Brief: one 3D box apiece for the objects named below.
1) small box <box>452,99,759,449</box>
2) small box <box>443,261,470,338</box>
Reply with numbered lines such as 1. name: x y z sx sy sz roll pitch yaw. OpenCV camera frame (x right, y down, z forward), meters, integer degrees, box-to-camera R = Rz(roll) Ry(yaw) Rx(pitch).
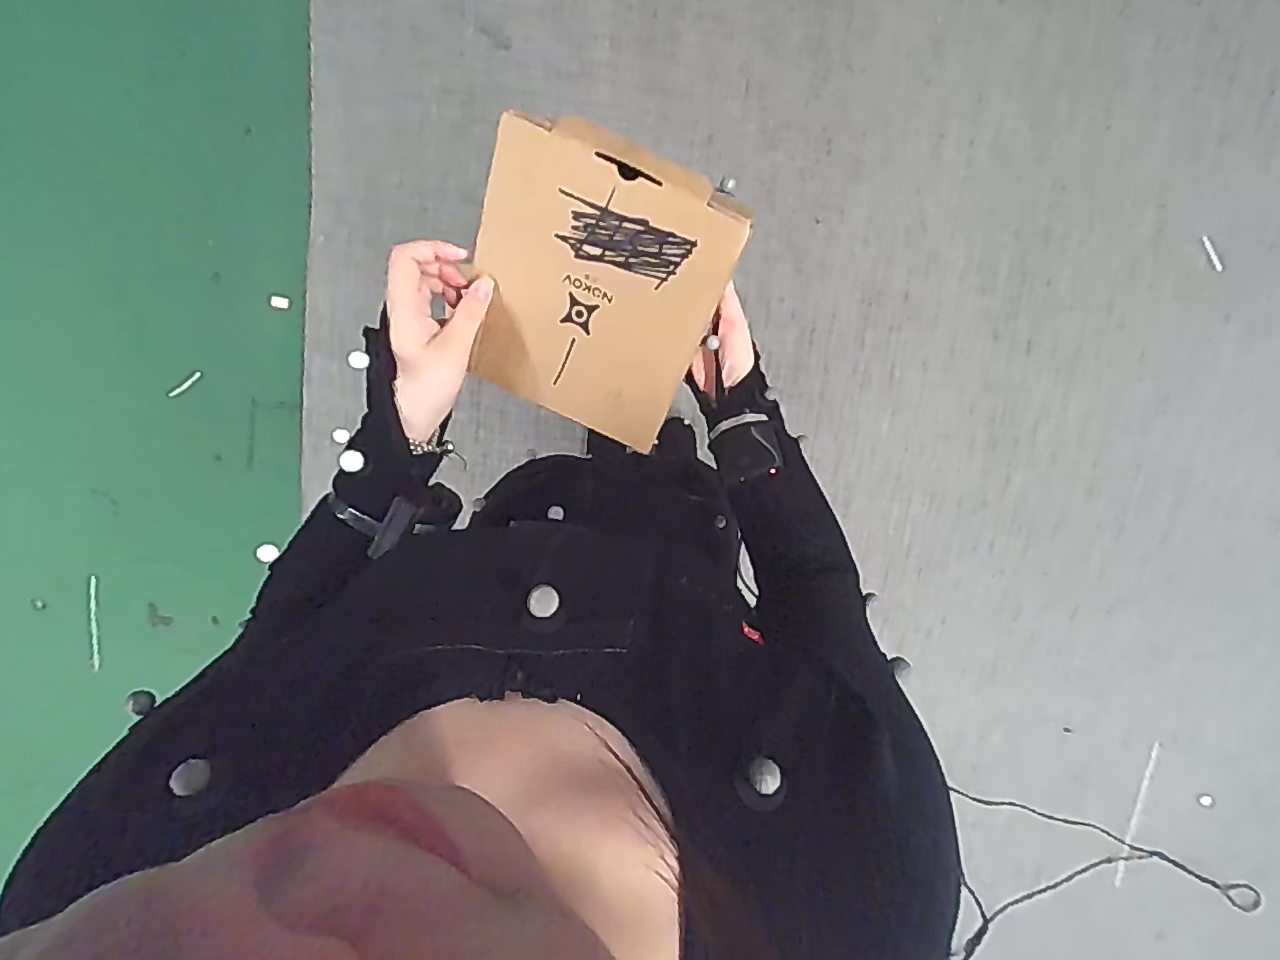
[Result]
1. small box: -0.019 -0.161 0.428 0.168 0.176 0.179 25 122 -1
2. small box: -0.379 -0.431 1.350 0.168 0.176 0.179 3 99 2
